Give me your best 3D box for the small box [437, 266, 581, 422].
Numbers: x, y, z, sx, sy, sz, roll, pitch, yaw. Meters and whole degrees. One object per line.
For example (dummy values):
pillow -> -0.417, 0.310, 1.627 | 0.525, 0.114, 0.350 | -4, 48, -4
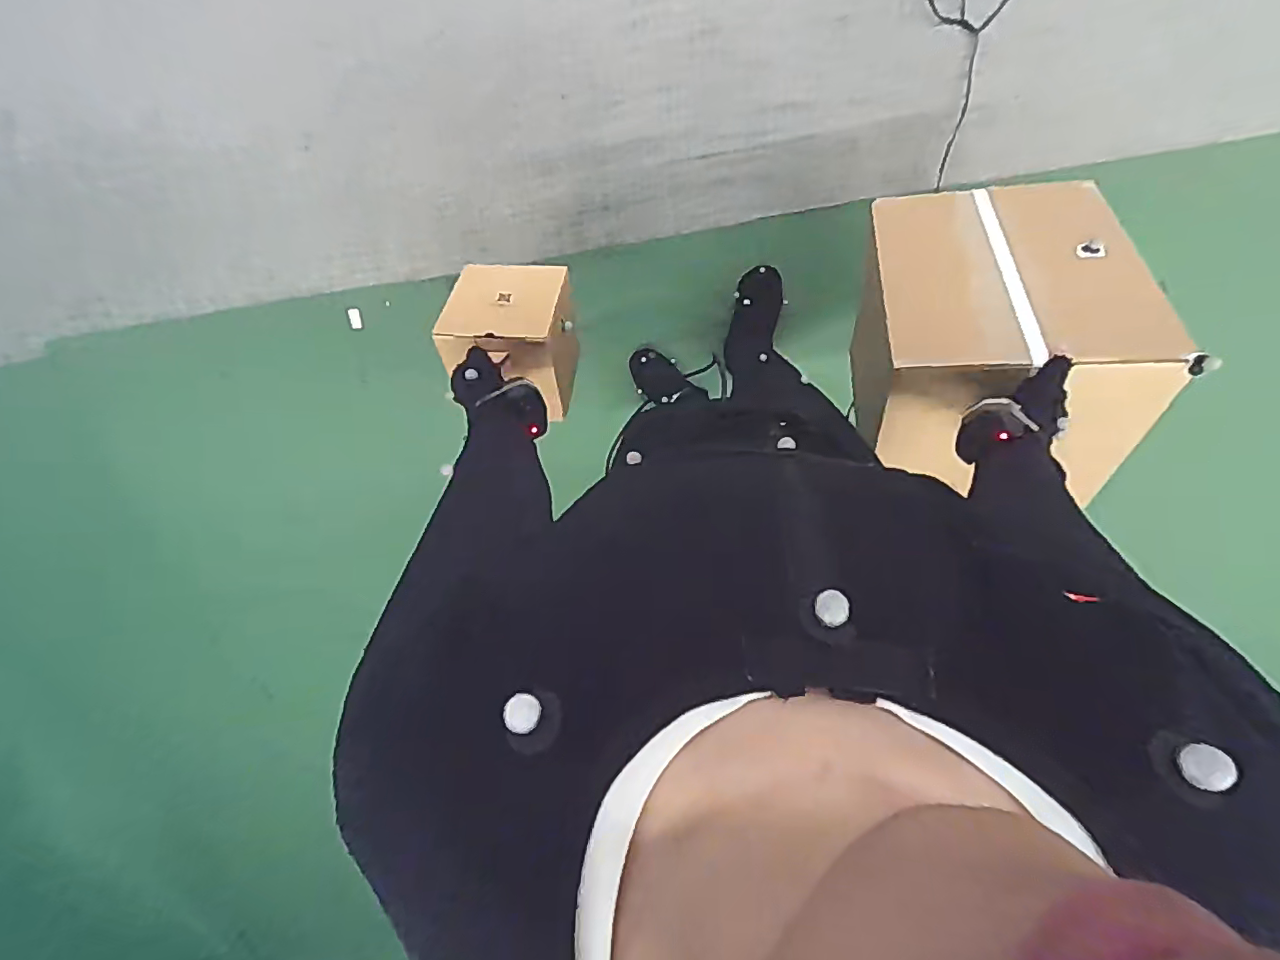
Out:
small box -> -0.193, -0.216, 0.862 | 0.168, 0.179, 0.176 | 3, 144, 6
